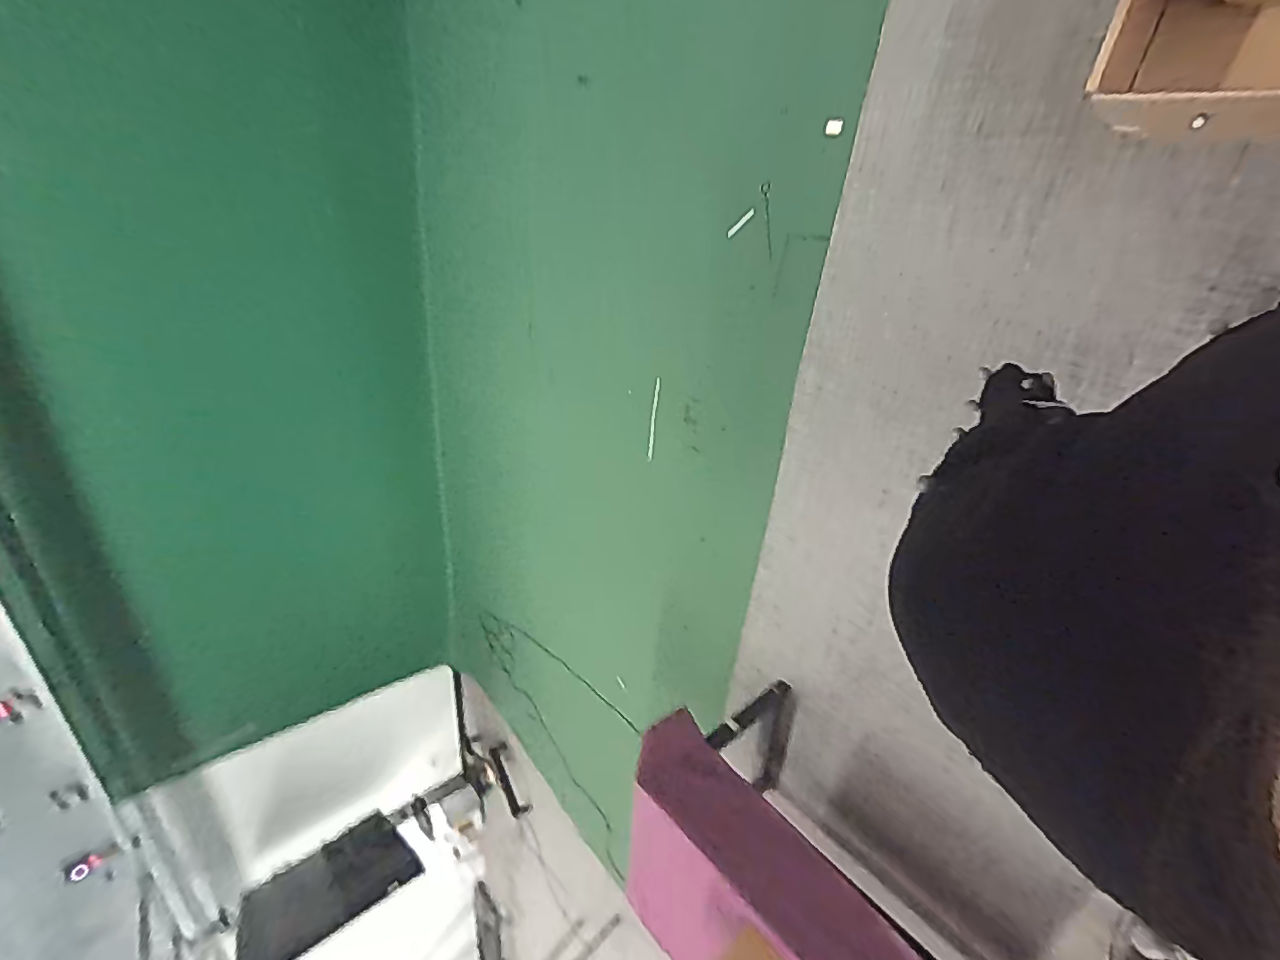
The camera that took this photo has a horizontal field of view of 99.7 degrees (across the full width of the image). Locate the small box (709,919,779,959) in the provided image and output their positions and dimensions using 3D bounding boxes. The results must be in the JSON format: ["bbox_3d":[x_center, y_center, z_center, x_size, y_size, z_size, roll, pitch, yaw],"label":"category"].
[{"bbox_3d":[0.253,1.227,1.298,0.179,0.176,0.168,30,124,41],"label":"small box"}]
